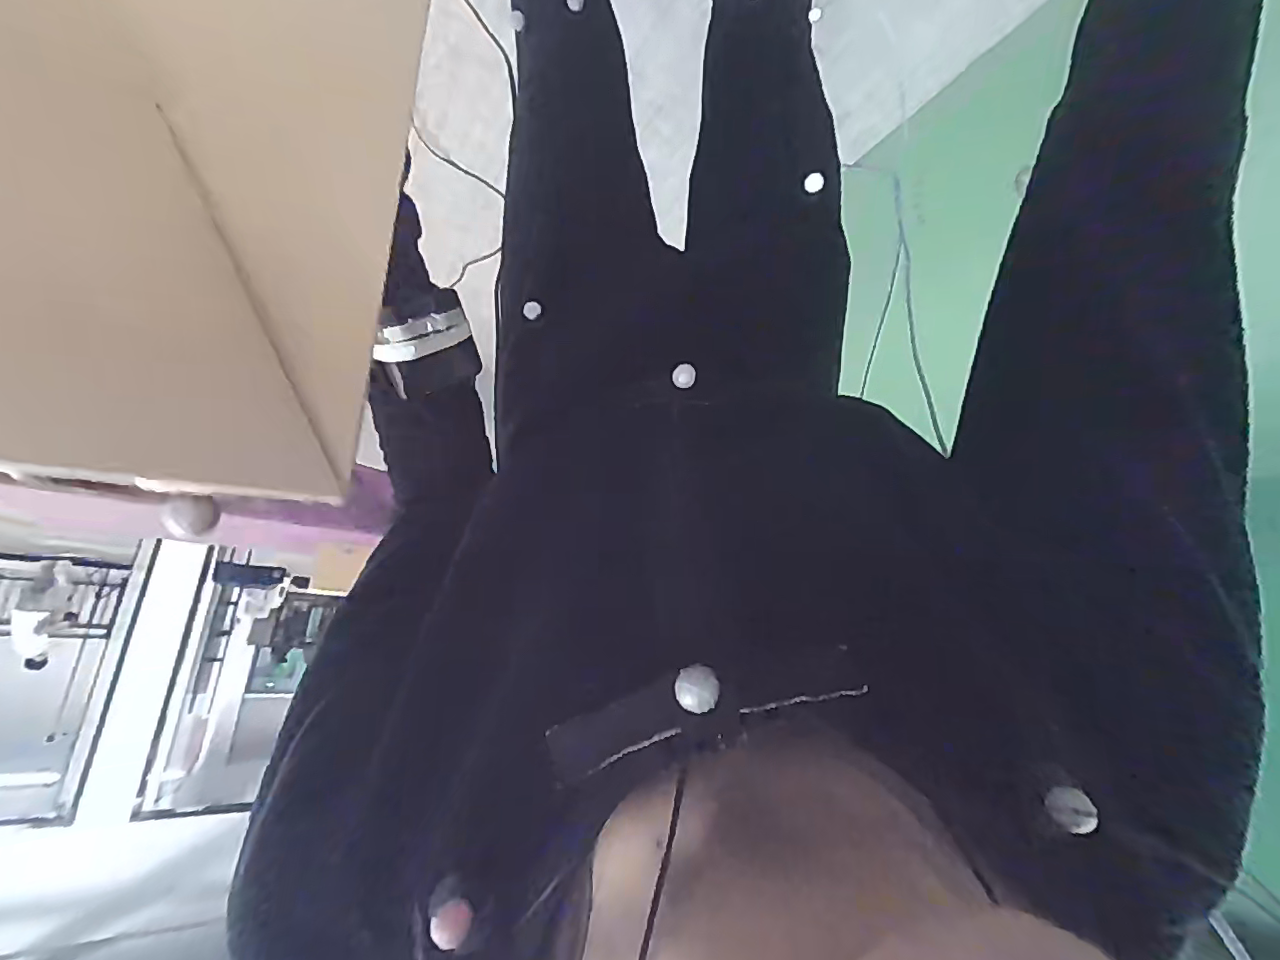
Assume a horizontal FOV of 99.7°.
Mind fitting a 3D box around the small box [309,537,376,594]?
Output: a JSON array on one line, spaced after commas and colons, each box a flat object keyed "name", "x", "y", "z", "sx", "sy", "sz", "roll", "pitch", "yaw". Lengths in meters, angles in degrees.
[{"name": "small box", "x": -1.057, "y": 0.304, "z": 1.922, "sx": 0.179, "sy": 0.176, "sz": 0.168, "roll": 13, "pitch": 159, "yaw": -27}]
